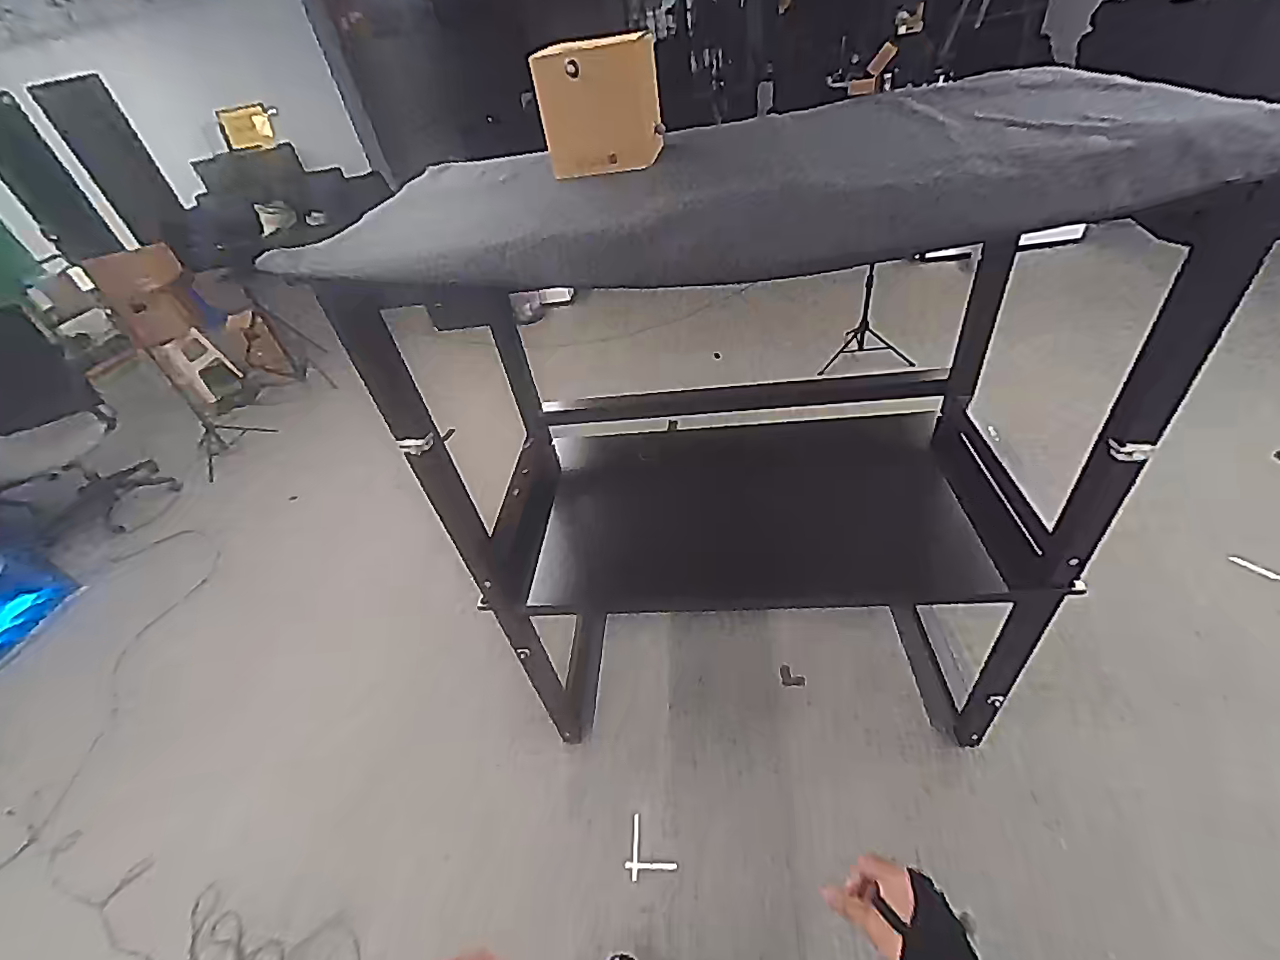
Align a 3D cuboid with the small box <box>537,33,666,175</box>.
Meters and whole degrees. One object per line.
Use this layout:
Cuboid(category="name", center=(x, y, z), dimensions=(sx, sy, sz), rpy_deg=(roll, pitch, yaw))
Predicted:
Cuboid(category="small box", center=(-0.052, -0.622, 0.900), dimensions=(0.168, 0.176, 0.179), rpy_deg=(0, 41, 12))
